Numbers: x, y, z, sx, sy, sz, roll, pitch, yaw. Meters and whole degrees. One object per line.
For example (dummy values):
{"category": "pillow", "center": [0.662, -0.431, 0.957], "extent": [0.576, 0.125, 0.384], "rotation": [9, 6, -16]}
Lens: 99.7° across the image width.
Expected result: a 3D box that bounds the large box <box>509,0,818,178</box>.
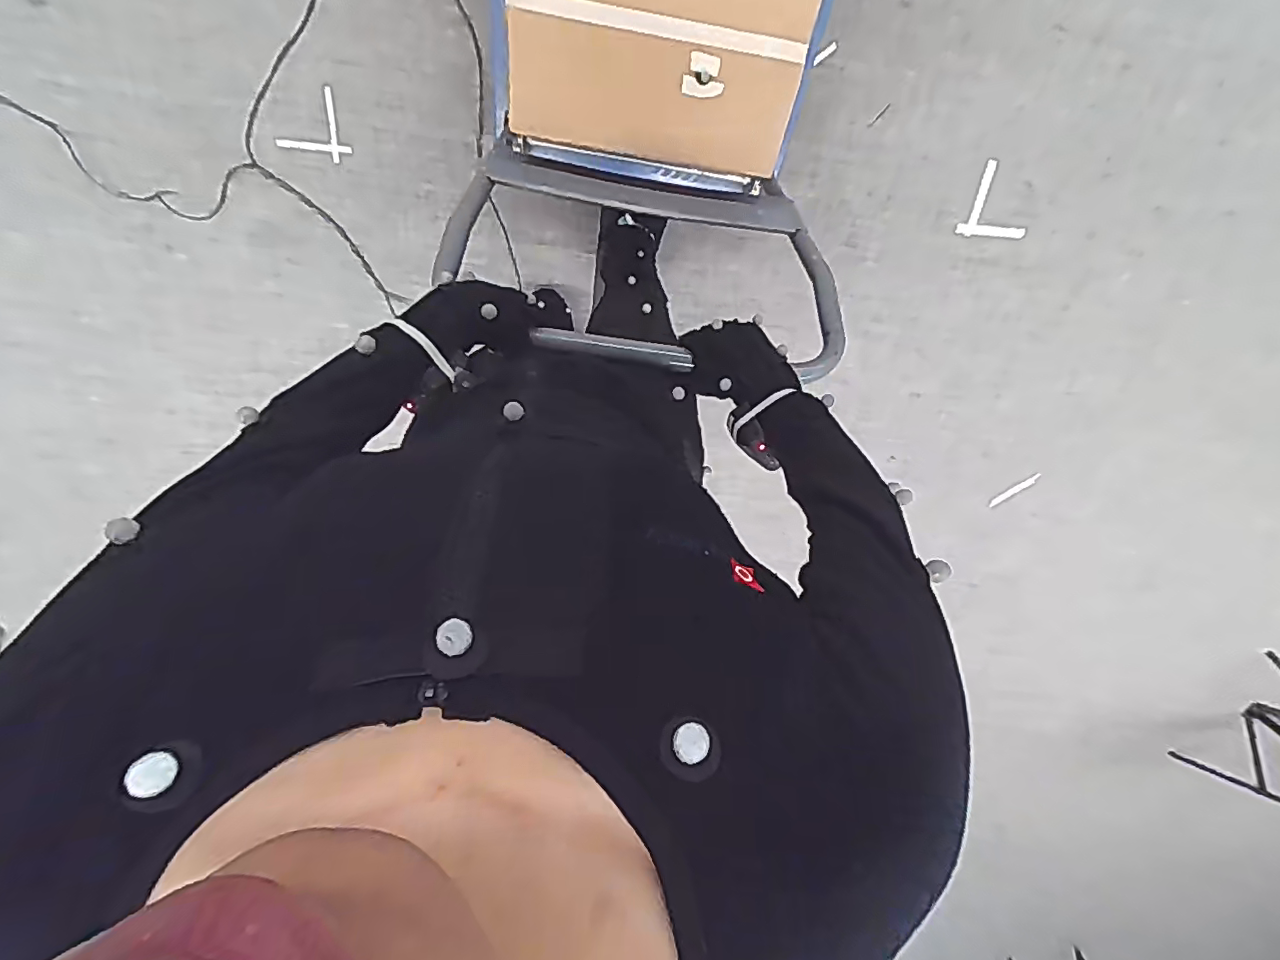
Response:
{"category": "large box", "center": [0.020, -0.695, 0.825], "extent": [0.408, 0.320, 0.320], "rotation": [5, 133, -7]}
